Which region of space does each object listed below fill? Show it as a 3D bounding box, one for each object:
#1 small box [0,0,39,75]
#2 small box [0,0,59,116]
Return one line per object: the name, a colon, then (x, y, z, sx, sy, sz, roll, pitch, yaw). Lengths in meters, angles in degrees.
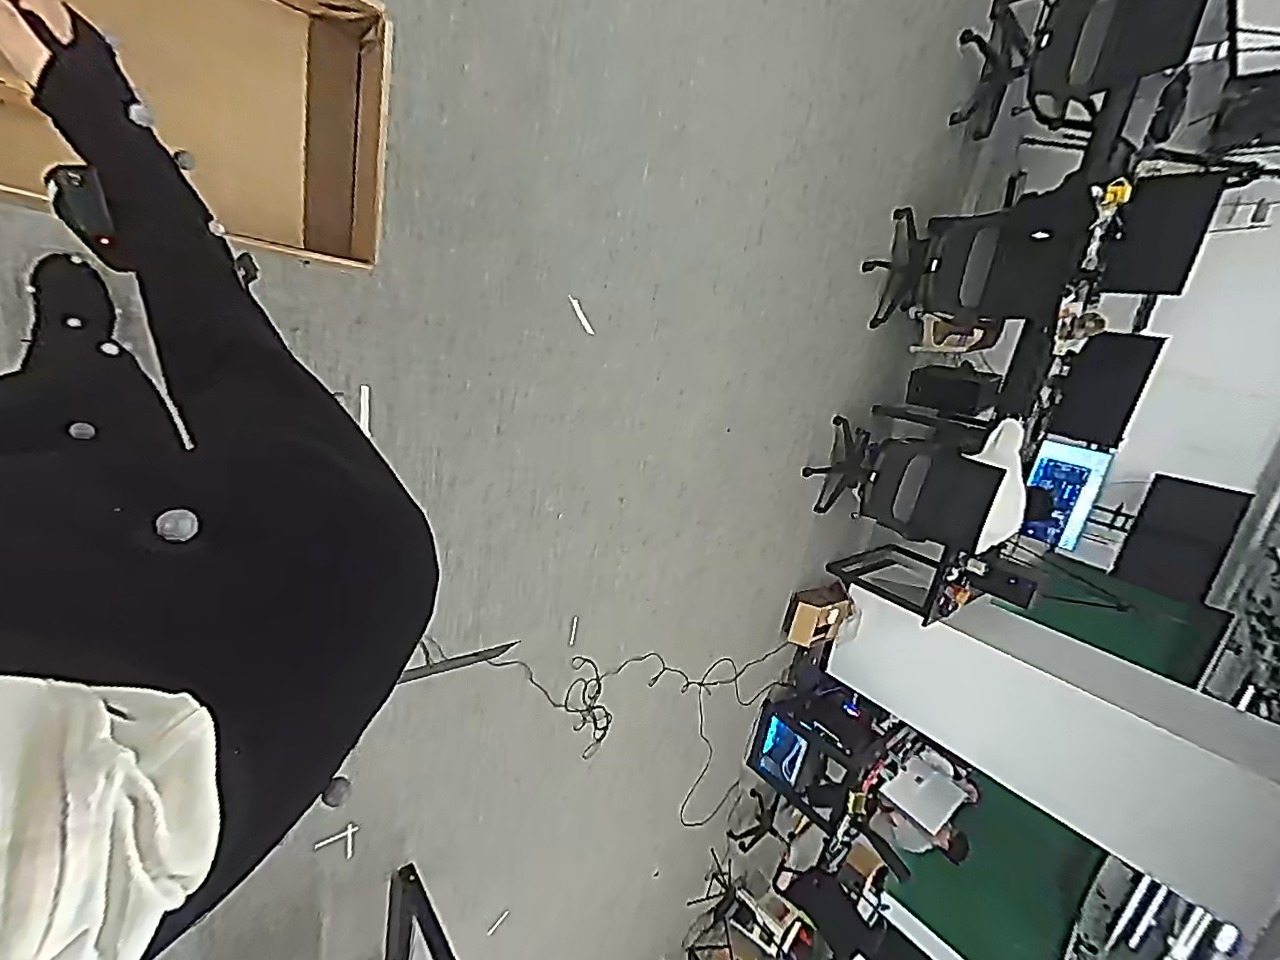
small box: (-0.702, -0.521, 0.504, 0.168, 0.176, 0.179, -3, 110, -40)
small box: (-0.809, -0.559, 0.624, 0.168, 0.176, 0.179, -3, 110, -40)
